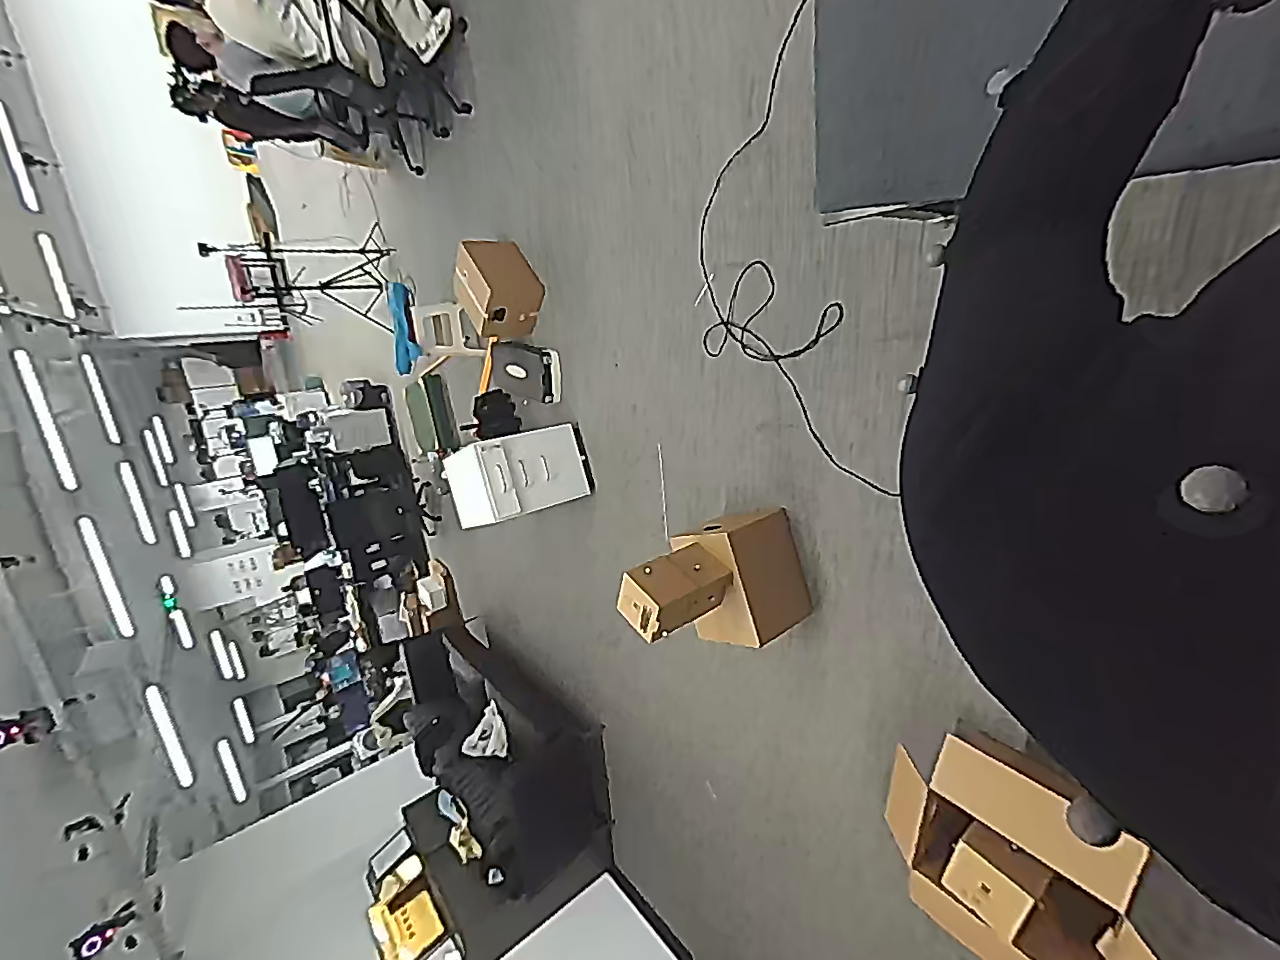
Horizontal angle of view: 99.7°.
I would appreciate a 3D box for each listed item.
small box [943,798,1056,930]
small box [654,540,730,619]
[{"bbox_3d":[0.899,0.947,1.349,0.168,0.176,0.179,31,127,47],"label":"small box"},{"bbox_3d":[0.178,0.330,1.837,0.179,0.176,0.168,38,131,35],"label":"small box"}]
